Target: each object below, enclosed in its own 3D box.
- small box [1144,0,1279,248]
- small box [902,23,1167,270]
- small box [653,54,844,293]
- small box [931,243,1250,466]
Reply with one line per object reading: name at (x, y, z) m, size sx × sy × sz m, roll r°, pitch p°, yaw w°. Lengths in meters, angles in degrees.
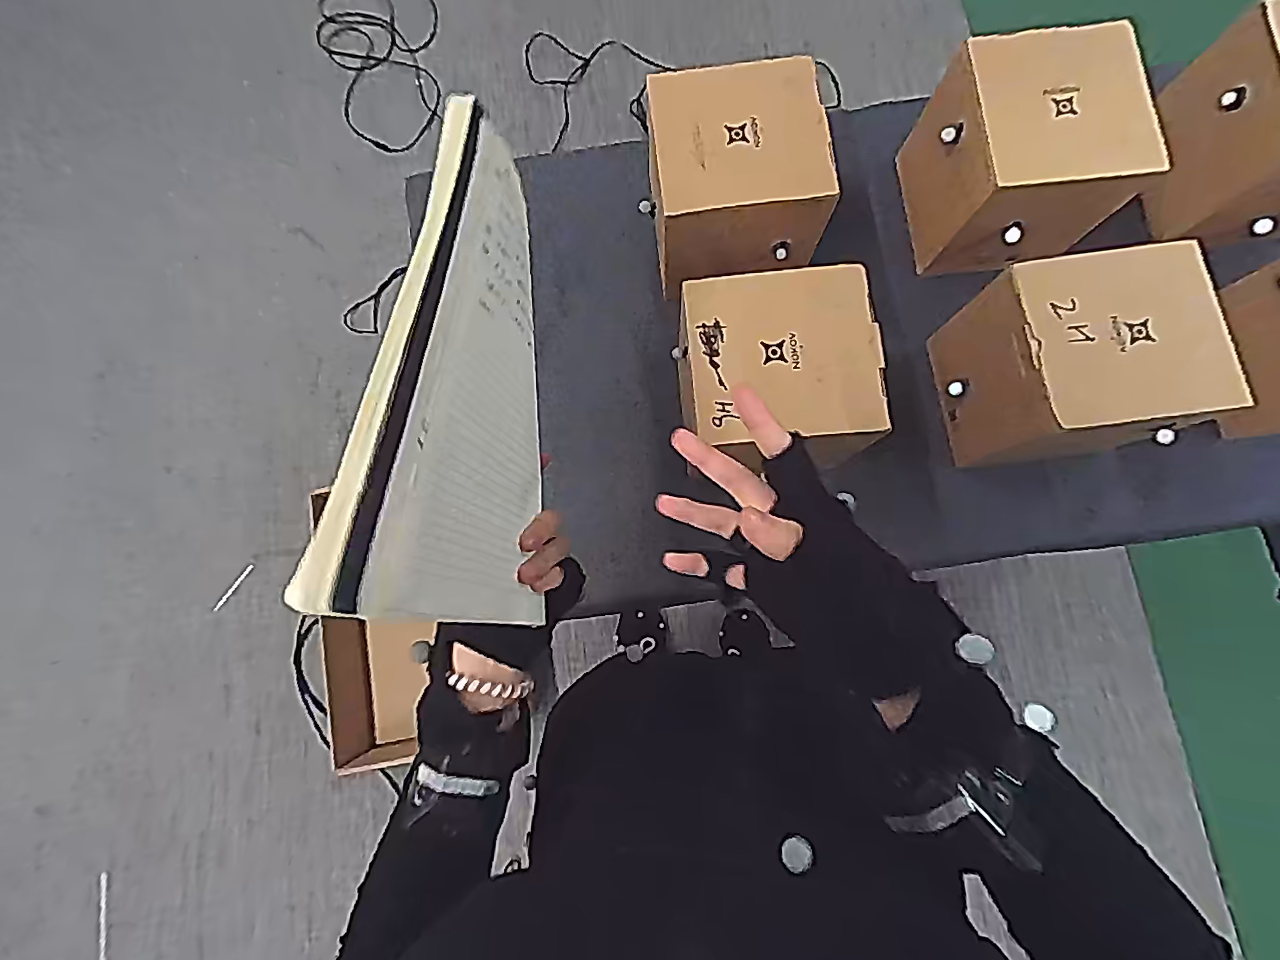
small box at (0.712, -0.388, 0.604) m, size 0.168 × 0.176 × 0.179 m, roll -5°, pitch 81°, yaw 2°
small box at (0.424, -0.358, 0.614) m, size 0.168 × 0.176 × 0.179 m, roll -5°, pitch 80°, yaw 2°
small box at (0.108, -0.336, 0.620) m, size 0.179 × 0.176 × 0.168 m, roll -6°, pitch 80°, yaw 0°
small box at (0.445, -0.117, 0.568) m, size 0.179 × 0.176 × 0.168 m, roll -7°, pitch 79°, yaw 2°
